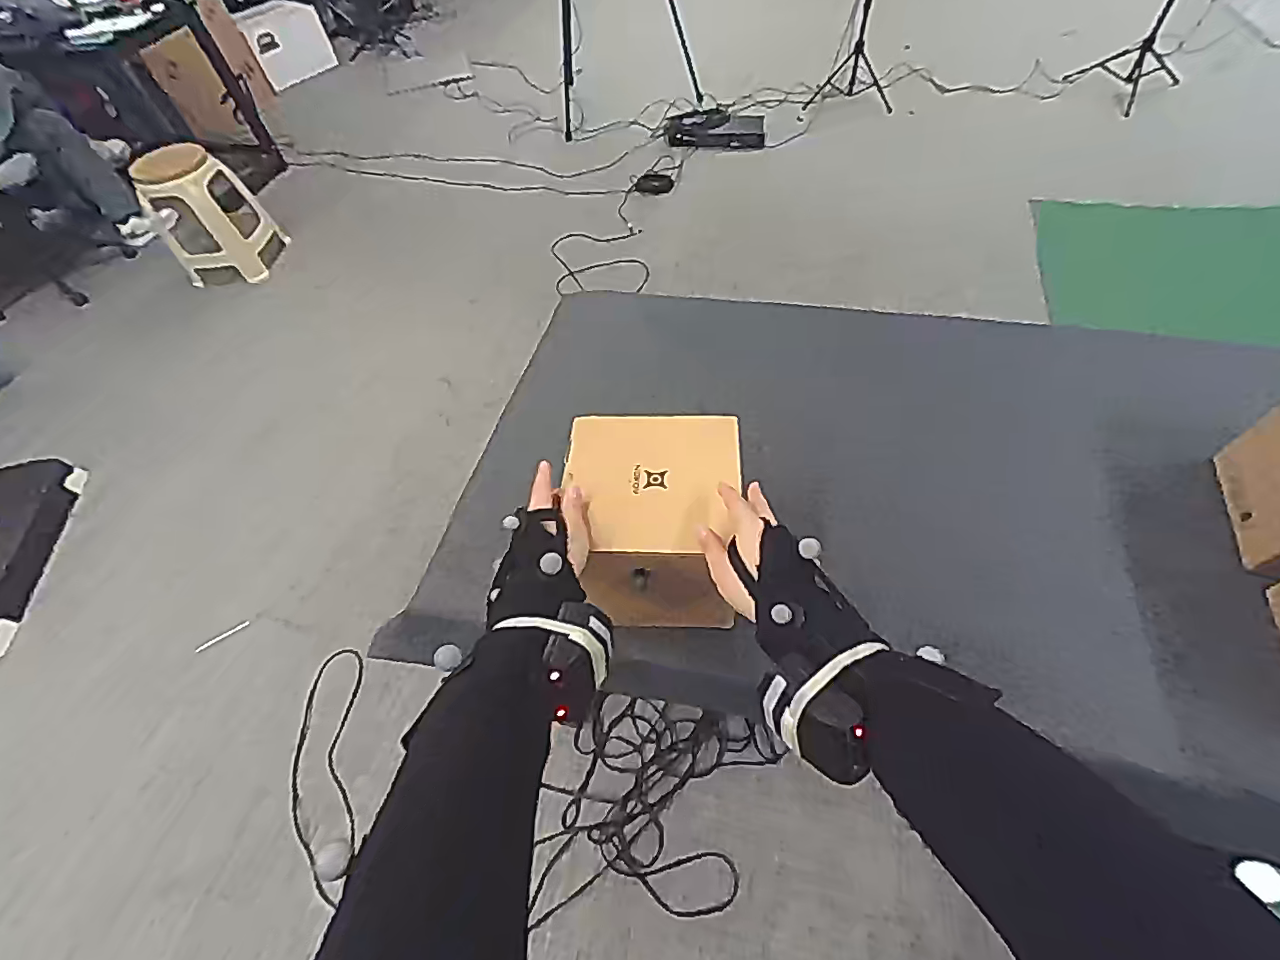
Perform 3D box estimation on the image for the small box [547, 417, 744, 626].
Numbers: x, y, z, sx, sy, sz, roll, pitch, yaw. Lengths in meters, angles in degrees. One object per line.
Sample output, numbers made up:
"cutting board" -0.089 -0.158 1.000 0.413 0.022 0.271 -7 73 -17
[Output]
"small box" 0.014 0.049 0.583 0.179 0.176 0.168 0 54 6
